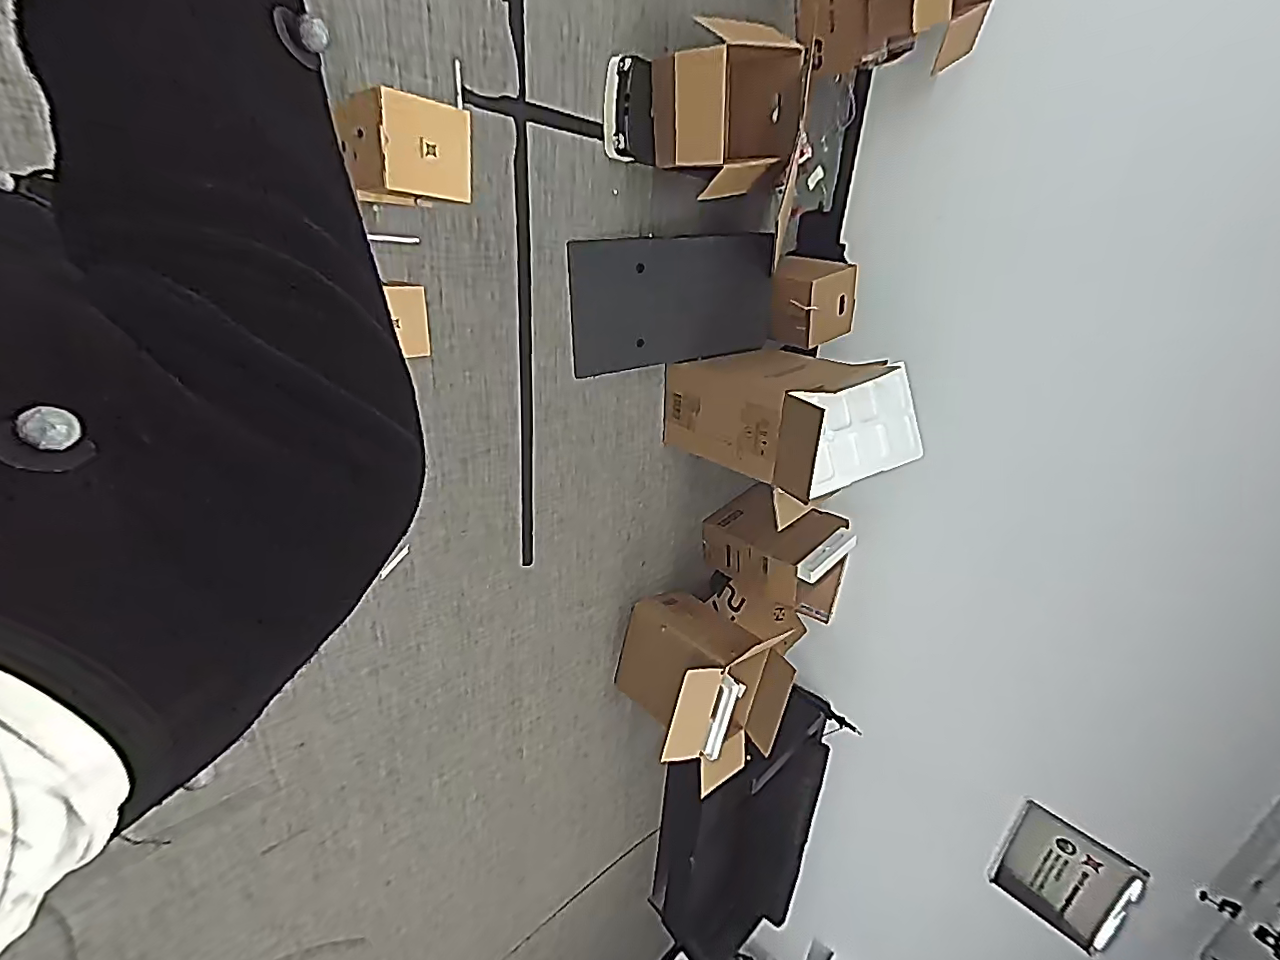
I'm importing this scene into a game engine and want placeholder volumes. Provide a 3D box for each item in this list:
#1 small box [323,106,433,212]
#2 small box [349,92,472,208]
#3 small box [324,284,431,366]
[{"bbox_3d":[-0.576,-0.696,1.191,0.168,0.176,0.179,-17,122,-41],"label":"small box"},{"bbox_3d":[-0.459,-0.653,1.087,0.179,0.176,0.168,-15,120,-42],"label":"small box"},{"bbox_3d":[-0.630,-0.379,1.302,0.179,0.176,0.168,-18,121,-40],"label":"small box"}]
